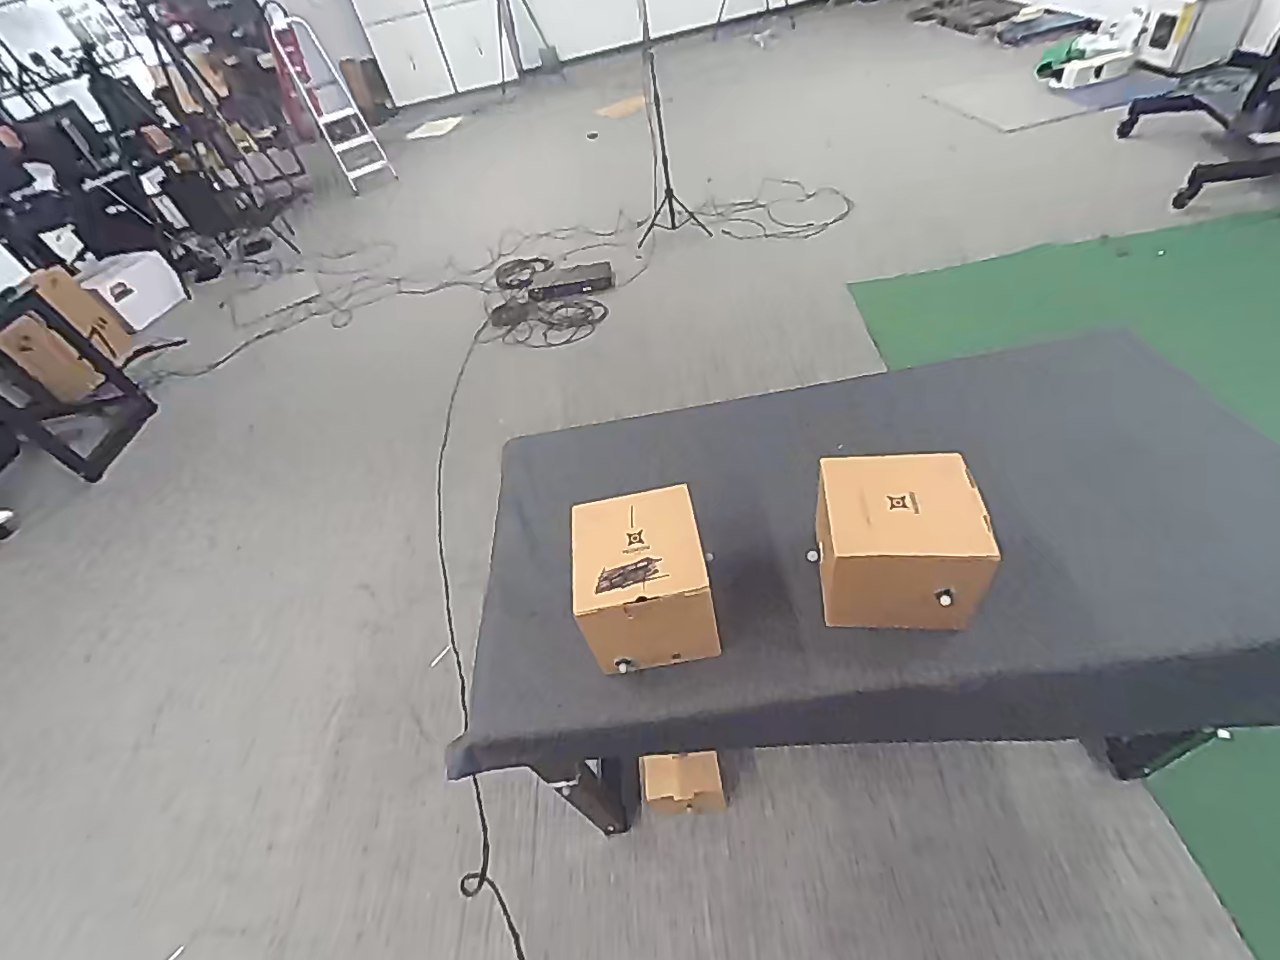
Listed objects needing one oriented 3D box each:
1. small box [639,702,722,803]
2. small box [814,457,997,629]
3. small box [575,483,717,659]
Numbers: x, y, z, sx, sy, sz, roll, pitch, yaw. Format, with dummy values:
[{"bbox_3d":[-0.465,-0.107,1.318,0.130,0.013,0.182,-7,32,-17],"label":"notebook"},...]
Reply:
[{"bbox_3d":[0.097,0.645,1.270,0.168,0.176,0.179,-9,47,5],"label":"small box"},{"bbox_3d":[0.335,0.087,0.724,0.179,0.176,0.168,-2,46,13],"label":"small box"},{"bbox_3d":[0.010,0.133,0.753,0.168,0.176,0.179,-10,45,4],"label":"small box"}]
